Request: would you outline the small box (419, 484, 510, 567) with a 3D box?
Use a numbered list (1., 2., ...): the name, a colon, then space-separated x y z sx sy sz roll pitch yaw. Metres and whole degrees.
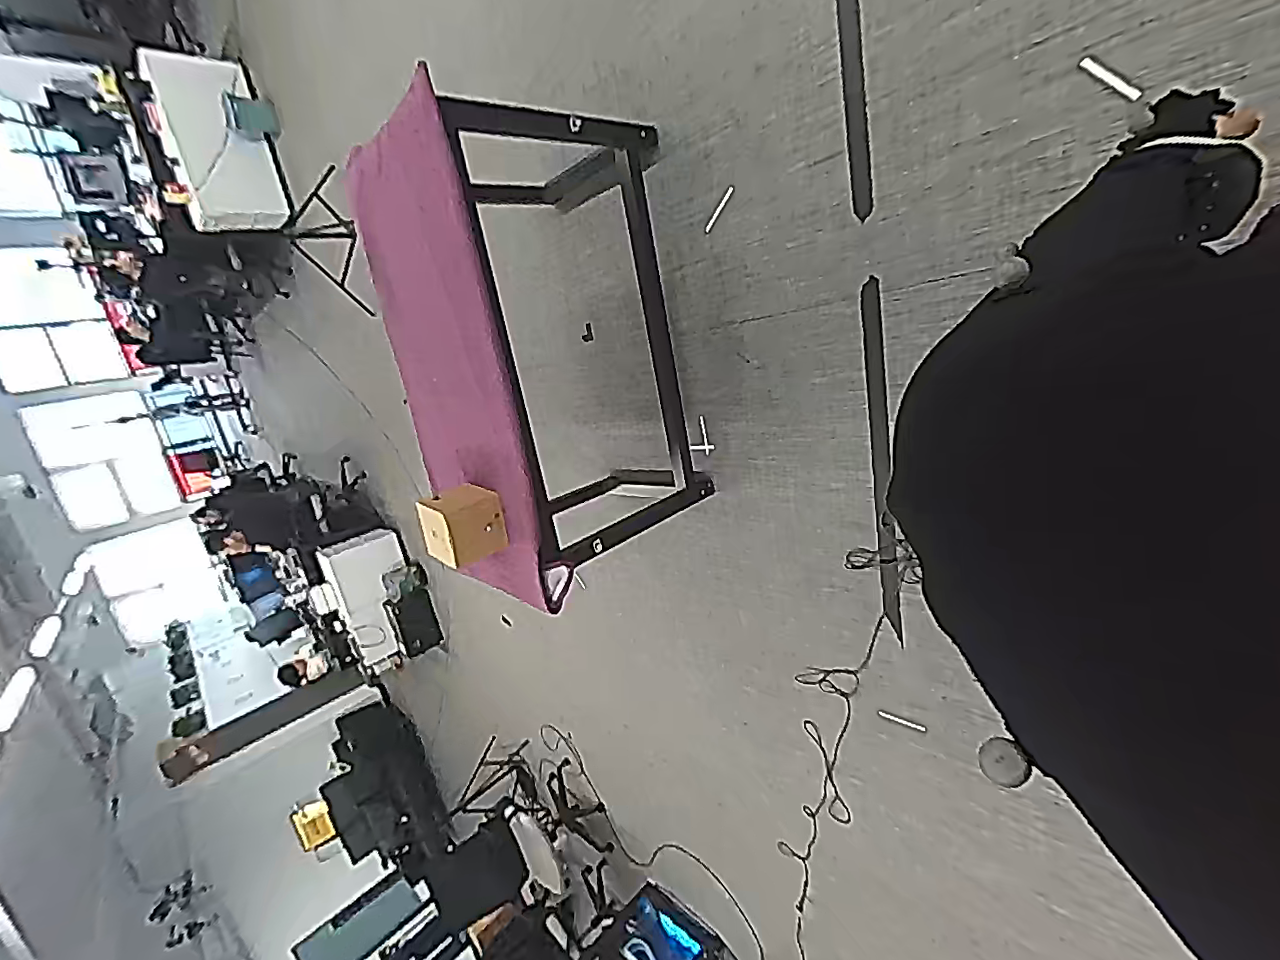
1. small box: -0.493 0.120 1.525 0.179 0.176 0.168 13 117 44
